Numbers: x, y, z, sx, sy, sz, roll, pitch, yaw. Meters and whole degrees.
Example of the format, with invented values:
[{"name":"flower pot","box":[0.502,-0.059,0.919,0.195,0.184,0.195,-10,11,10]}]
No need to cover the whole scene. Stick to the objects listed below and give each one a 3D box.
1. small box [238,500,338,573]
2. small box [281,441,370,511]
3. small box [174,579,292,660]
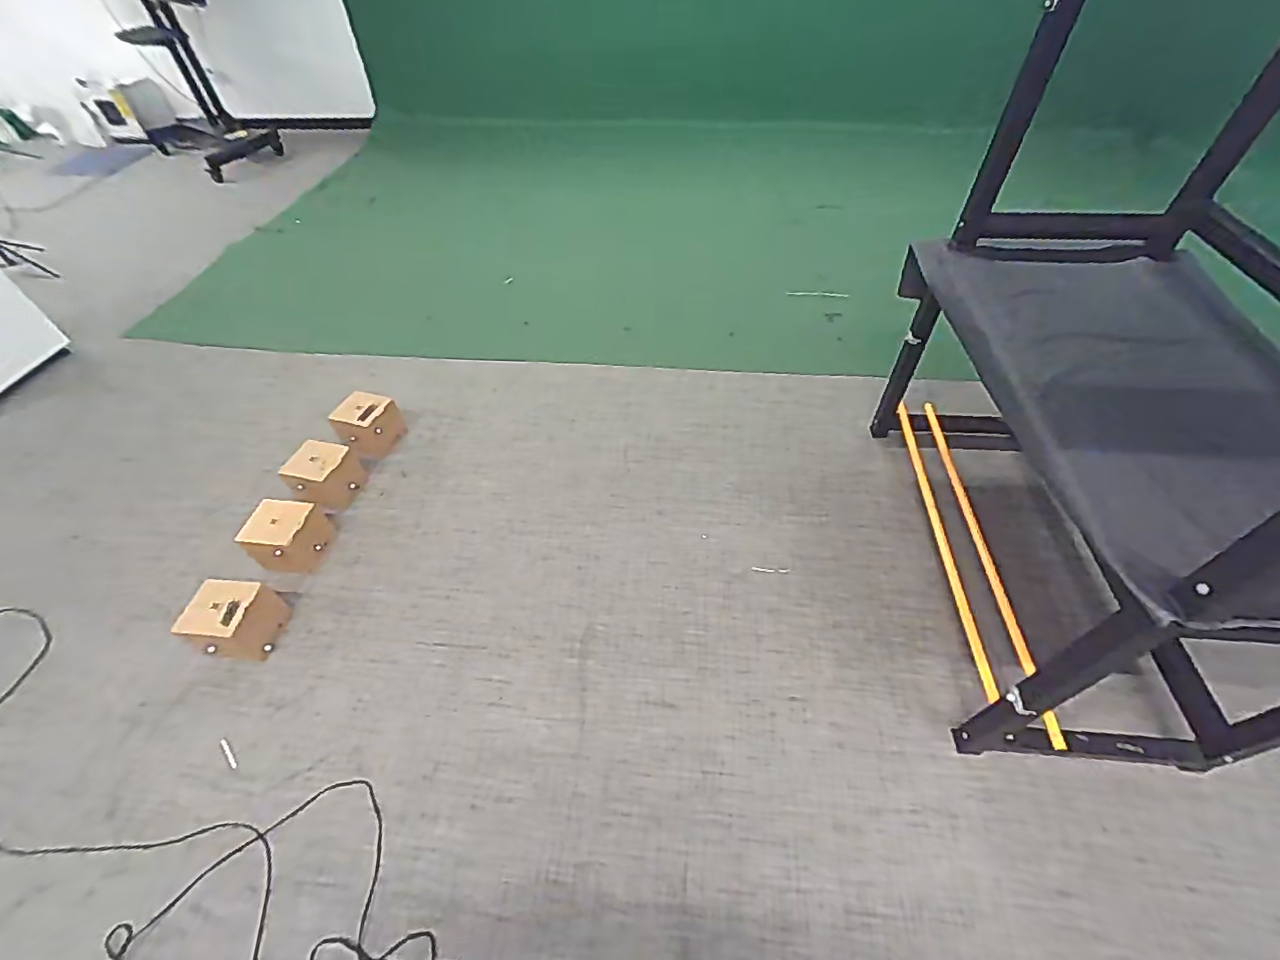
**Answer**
[{"name":"small box","box":[-1.117,0.184,1.732,0.179,0.176,0.168,5,49,5]},{"name":"small box","box":[-1.096,-0.011,1.899,0.179,0.176,0.168,11,51,10]},{"name":"small box","box":[-1.146,0.401,1.541,0.179,0.176,0.168,3,49,5]}]
